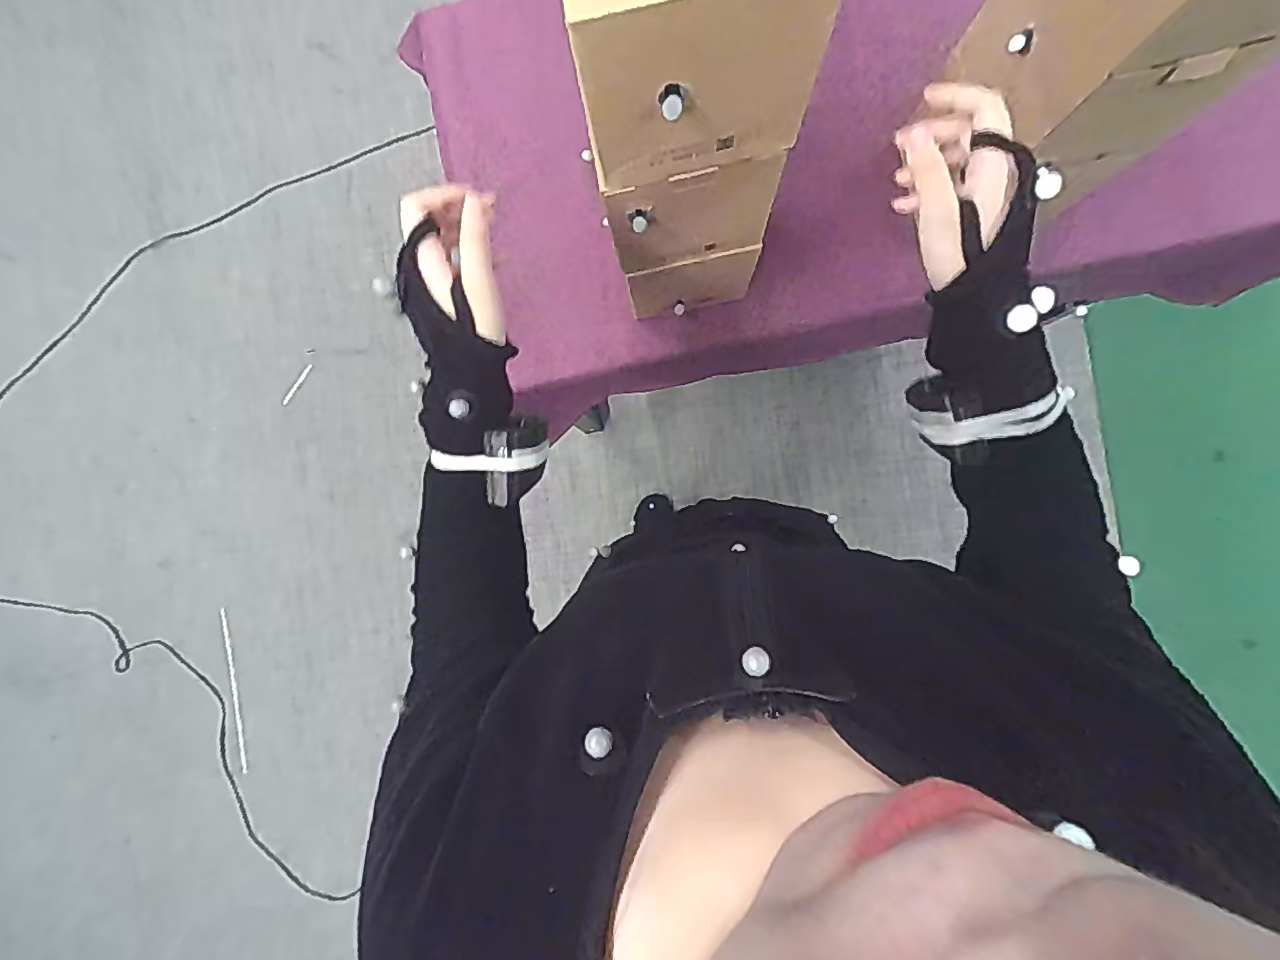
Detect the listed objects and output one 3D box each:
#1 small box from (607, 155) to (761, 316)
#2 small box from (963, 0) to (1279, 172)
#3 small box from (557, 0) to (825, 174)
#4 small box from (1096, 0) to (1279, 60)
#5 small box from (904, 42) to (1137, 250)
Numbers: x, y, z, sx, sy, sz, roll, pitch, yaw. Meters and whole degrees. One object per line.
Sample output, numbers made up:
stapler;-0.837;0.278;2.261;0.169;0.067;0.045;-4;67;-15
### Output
small box;0.052;-0.341;0.717;0.168;0.176;0.179;-11;89;4
small box;0.452;-0.432;0.525;0.168;0.176;0.179;-12;87;3
small box;0.029;-0.353;0.390;0.168;0.176;0.179;-10;86;4
small box;0.444;-0.431;0.360;0.179;0.176;0.168;-11;89;3
small box;0.463;-0.428;0.689;0.168;0.176;0.179;-12;87;5
